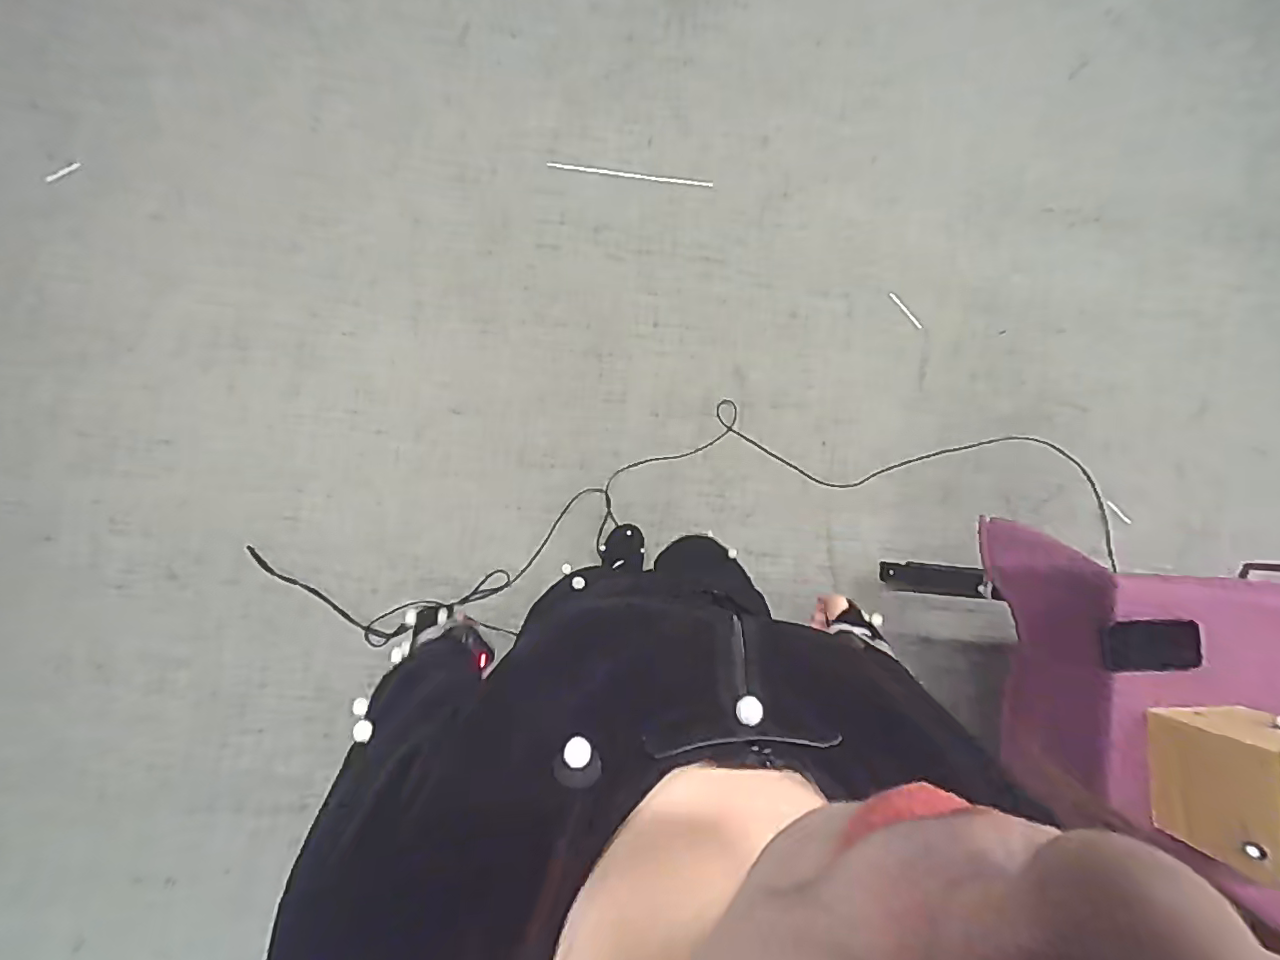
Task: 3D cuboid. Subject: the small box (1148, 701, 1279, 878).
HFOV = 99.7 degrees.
[{"bbox_3d":[0.859,0.416,0.749,0.168,0.176,0.179,1,87,-5],"label":"small box"}]
